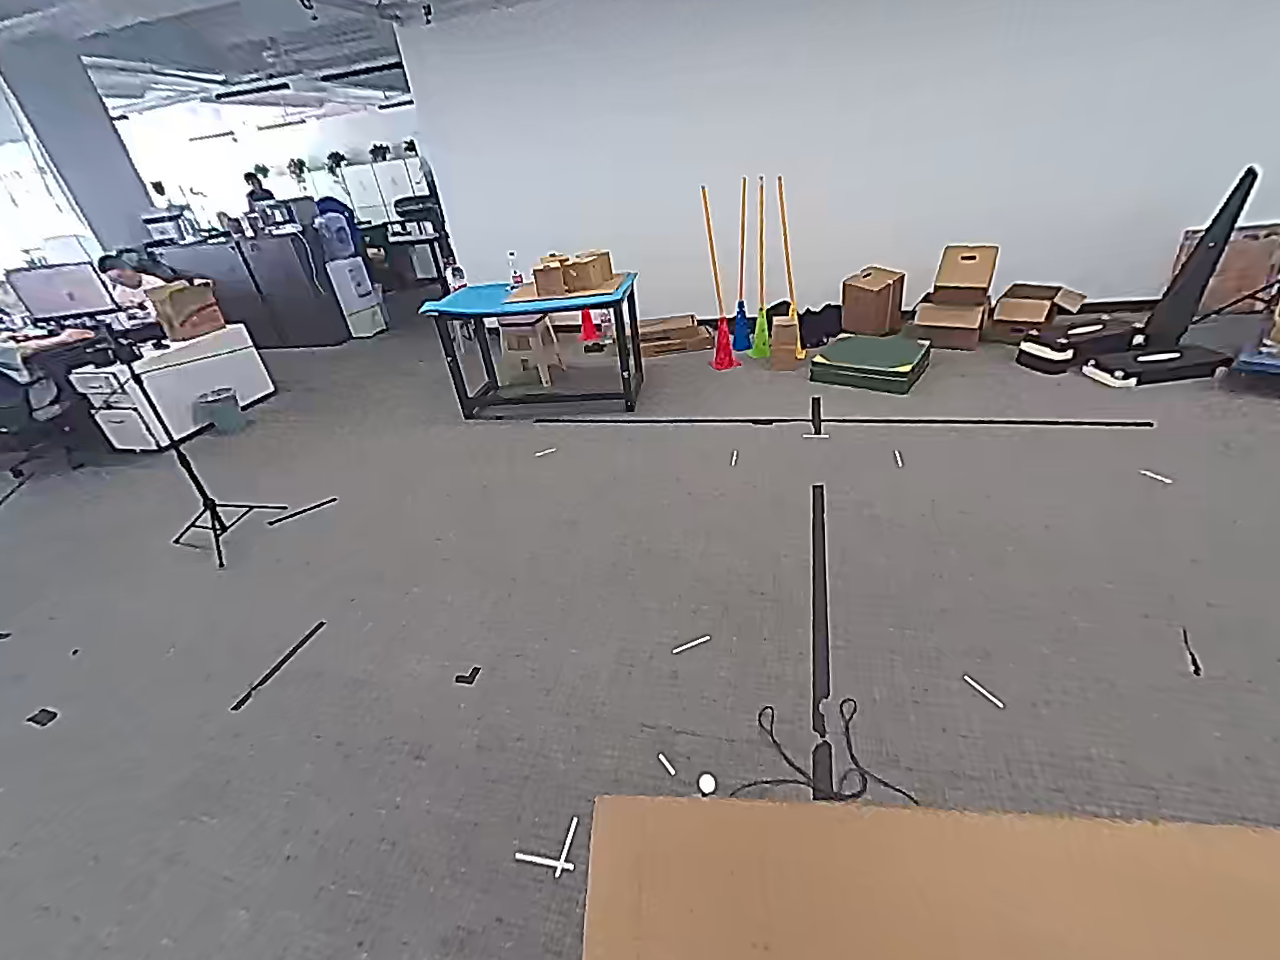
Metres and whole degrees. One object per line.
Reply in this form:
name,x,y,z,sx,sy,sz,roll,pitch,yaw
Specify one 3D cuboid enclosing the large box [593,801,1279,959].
large box,0.196,0.417,0.387,0.408,0.320,0.320,-6,60,14
